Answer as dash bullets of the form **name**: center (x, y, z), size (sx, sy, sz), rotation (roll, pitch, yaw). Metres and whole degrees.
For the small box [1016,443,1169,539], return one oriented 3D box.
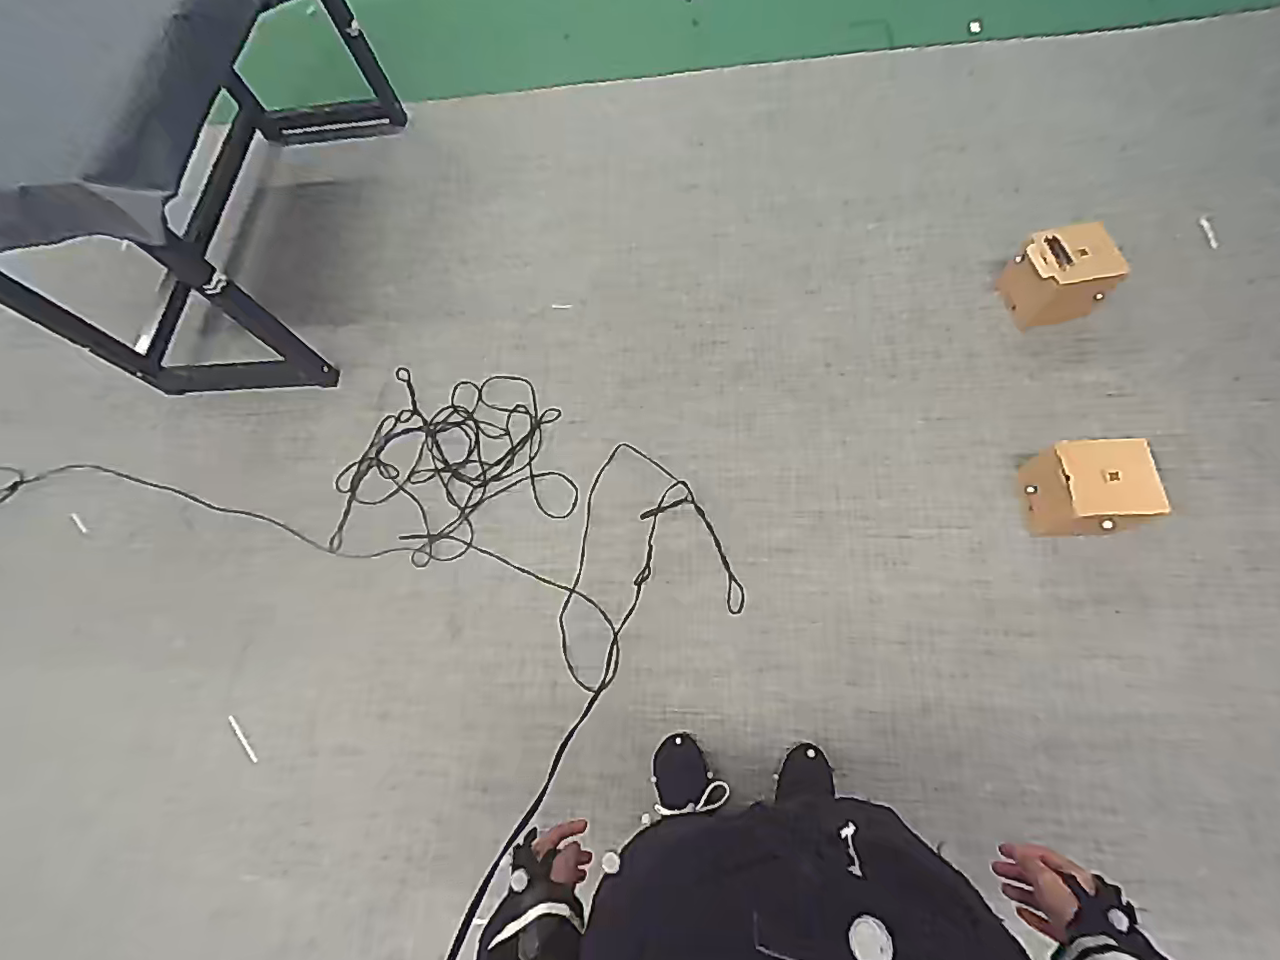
- **small box**: center (0.974, 0.028, 1.181), size (0.179, 0.176, 0.168), rotation (-3, 69, 7)
